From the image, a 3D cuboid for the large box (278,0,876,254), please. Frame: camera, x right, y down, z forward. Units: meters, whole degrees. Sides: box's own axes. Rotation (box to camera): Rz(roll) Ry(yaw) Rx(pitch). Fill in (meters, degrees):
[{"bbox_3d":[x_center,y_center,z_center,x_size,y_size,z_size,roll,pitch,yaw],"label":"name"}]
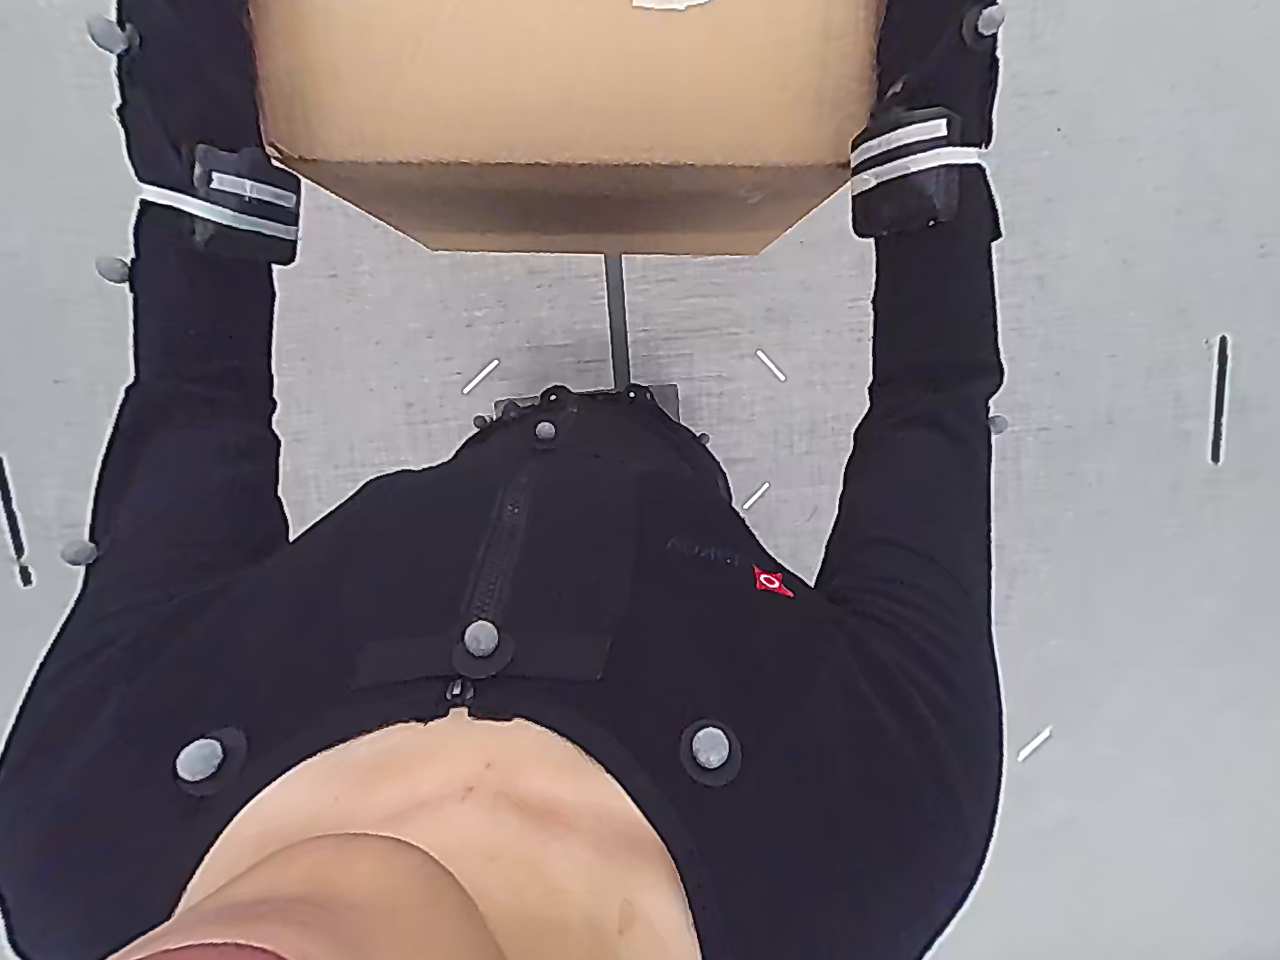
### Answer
[{"bbox_3d":[-0.045,-0.402,0.493,0.408,0.320,0.320,0,102,-2],"label":"large box"}]
